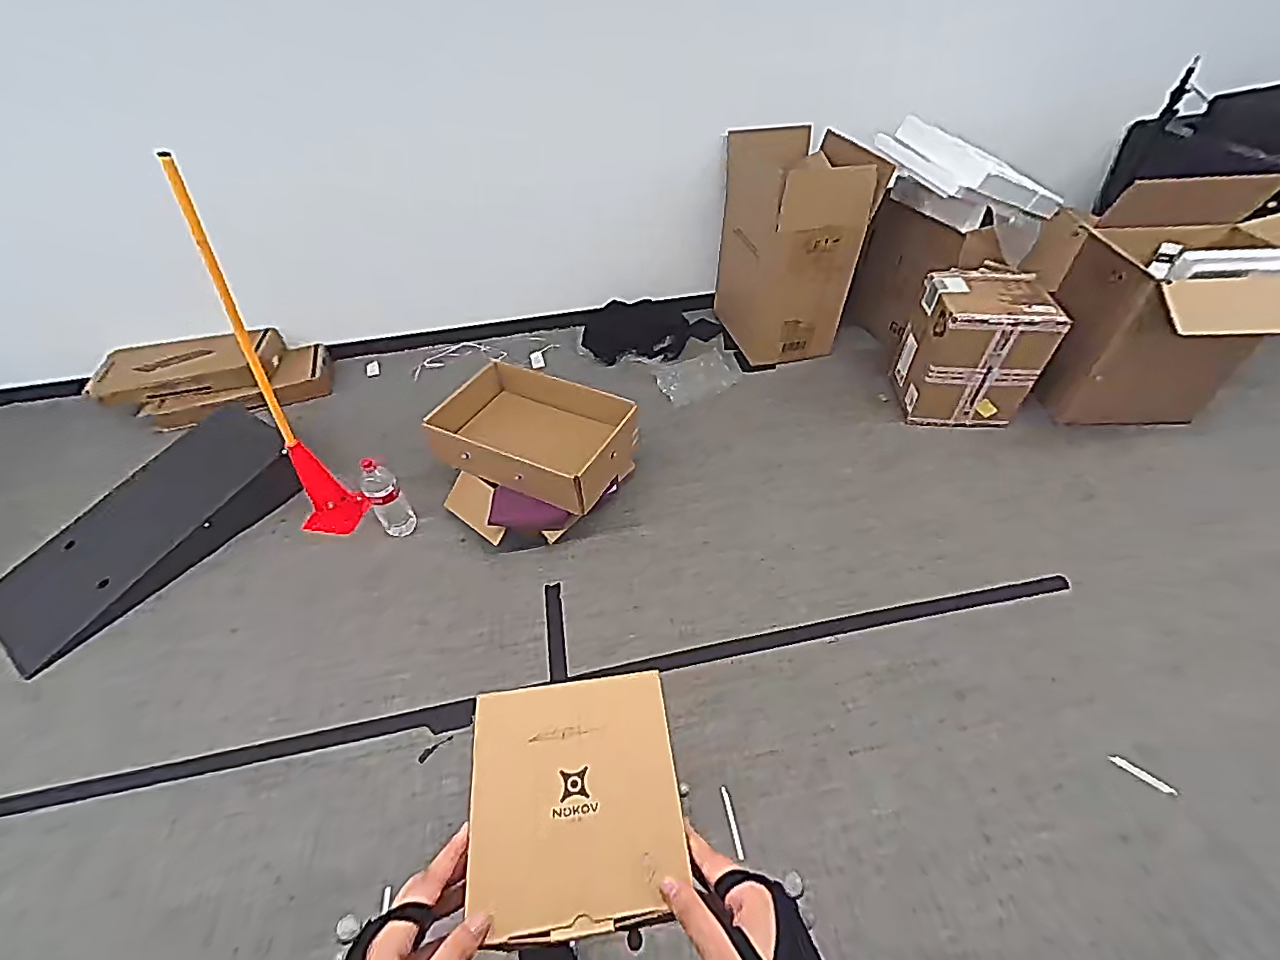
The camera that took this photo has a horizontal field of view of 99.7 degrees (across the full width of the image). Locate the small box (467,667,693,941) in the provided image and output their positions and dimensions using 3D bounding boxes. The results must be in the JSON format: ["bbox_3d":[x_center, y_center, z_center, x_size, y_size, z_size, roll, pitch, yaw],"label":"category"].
[{"bbox_3d":[-0.052,0.296,0.496,0.168,0.176,0.179,-5,49,-7],"label":"small box"}]
